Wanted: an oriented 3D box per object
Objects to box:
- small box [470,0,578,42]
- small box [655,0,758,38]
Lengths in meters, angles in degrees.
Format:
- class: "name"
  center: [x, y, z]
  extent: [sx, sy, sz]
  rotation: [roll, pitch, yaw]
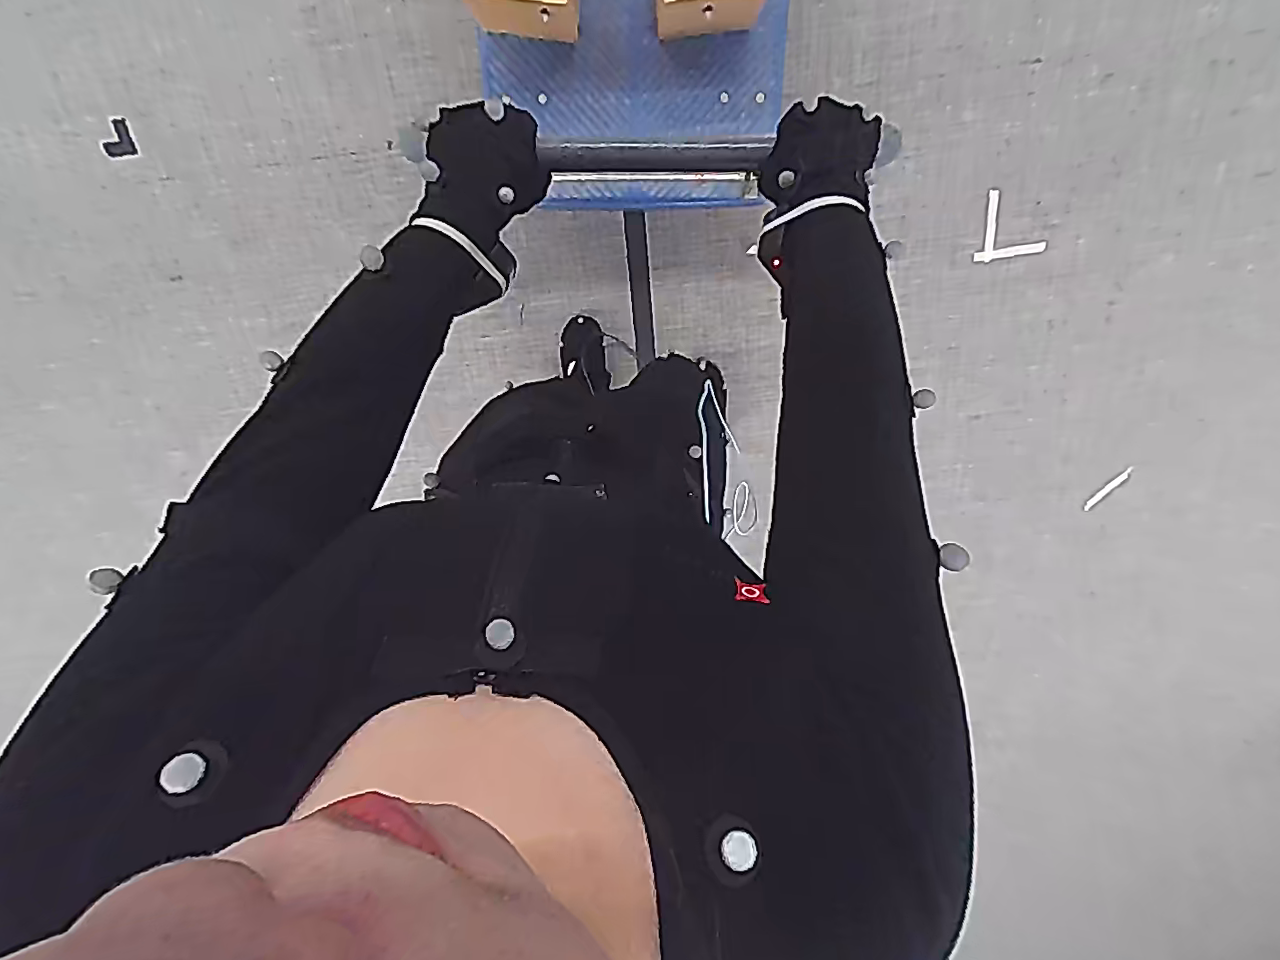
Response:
- class: "small box"
  center: [-0.195, -0.865, 0.901]
  extent: [0.179, 0.176, 0.168]
  rotation: [4, 113, -5]
- class: "small box"
  center: [0.111, -0.873, 0.904]
  extent: [0.179, 0.176, 0.168]
  rotation: [-6, 114, 1]
